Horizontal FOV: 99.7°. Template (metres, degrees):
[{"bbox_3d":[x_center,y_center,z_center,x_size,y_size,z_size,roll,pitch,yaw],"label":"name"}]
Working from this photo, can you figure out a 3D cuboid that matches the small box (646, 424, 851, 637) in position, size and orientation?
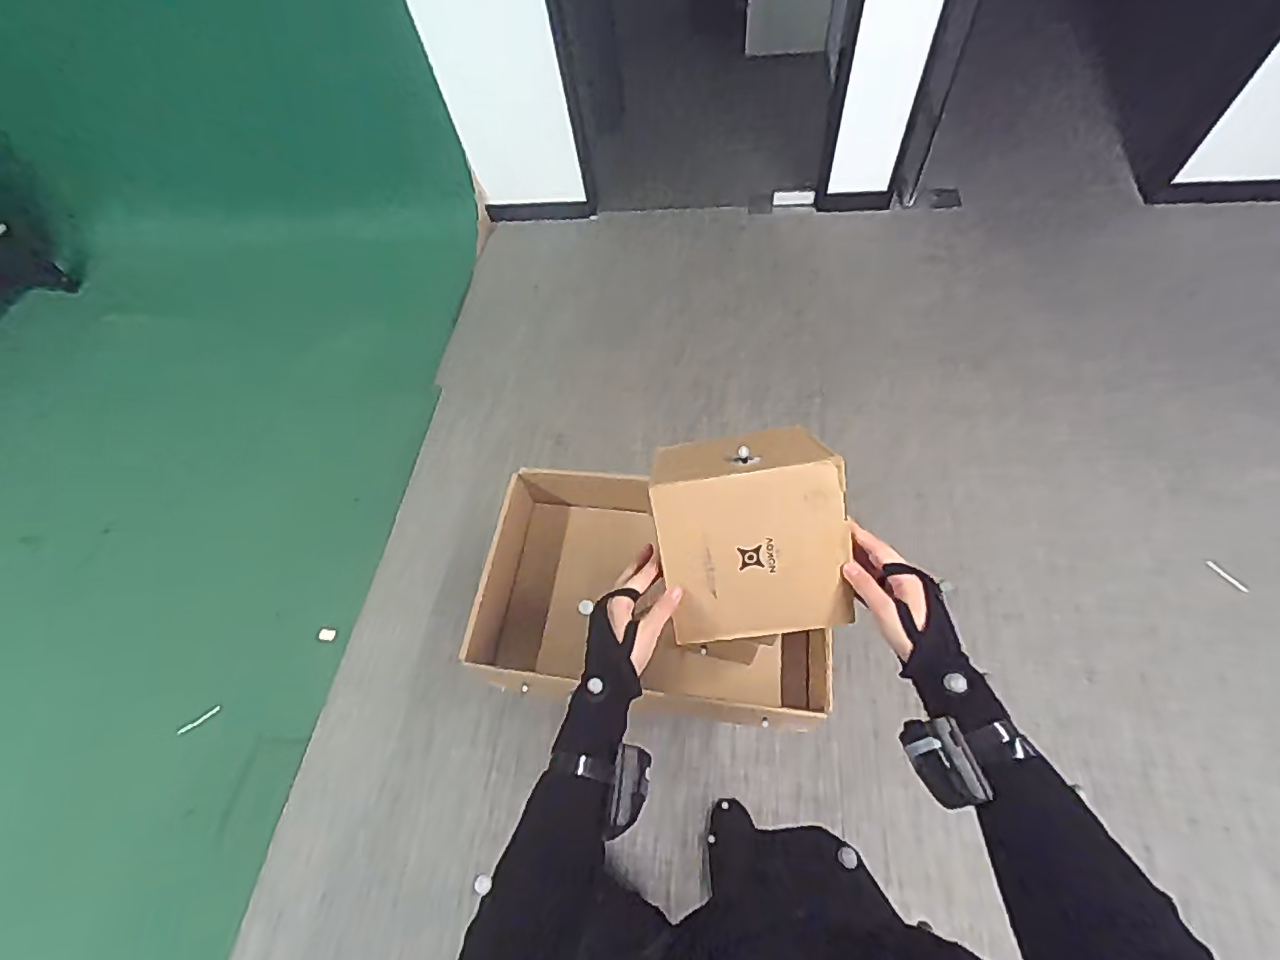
[{"bbox_3d":[0.106,0.042,0.575,0.179,0.168,0.176,-8,15,6],"label":"small box"}]

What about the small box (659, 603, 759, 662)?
[{"bbox_3d":[0.139,0.213,0.969,0.168,0.176,0.179,9,62,12],"label":"small box"}]
